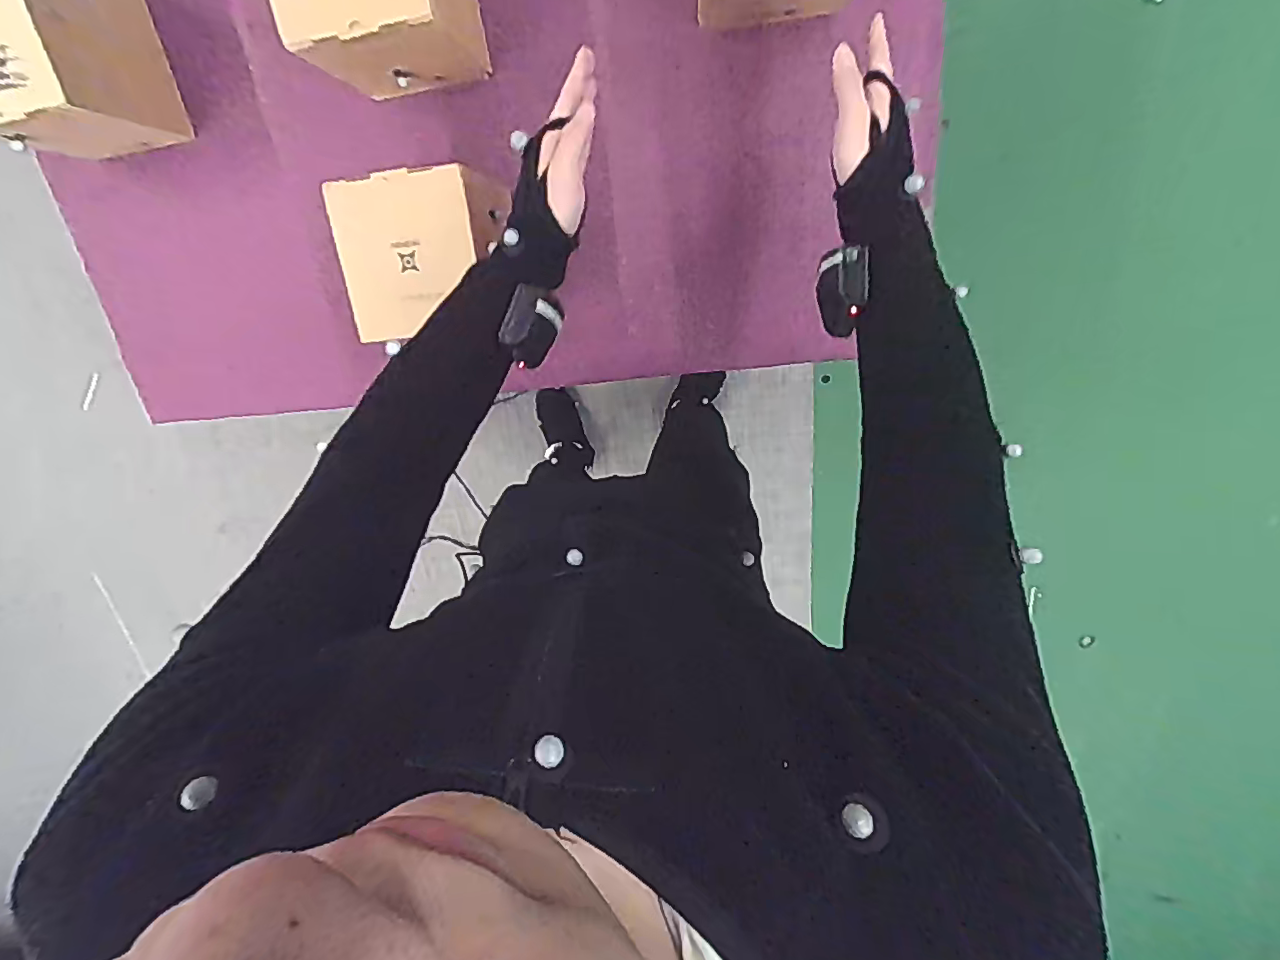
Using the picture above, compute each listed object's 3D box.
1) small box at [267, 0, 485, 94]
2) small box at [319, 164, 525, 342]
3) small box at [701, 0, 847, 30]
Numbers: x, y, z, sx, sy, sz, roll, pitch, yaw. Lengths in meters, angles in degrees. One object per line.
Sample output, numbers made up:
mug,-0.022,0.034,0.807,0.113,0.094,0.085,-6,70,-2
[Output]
small box,-0.285,-0.553,0.580,0.168,0.176,0.179,-5,111,6
small box,-0.255,-0.274,0.679,0.168,0.176,0.179,-3,109,7
small box,0.140,-0.586,0.527,0.168,0.176,0.179,-2,111,7
